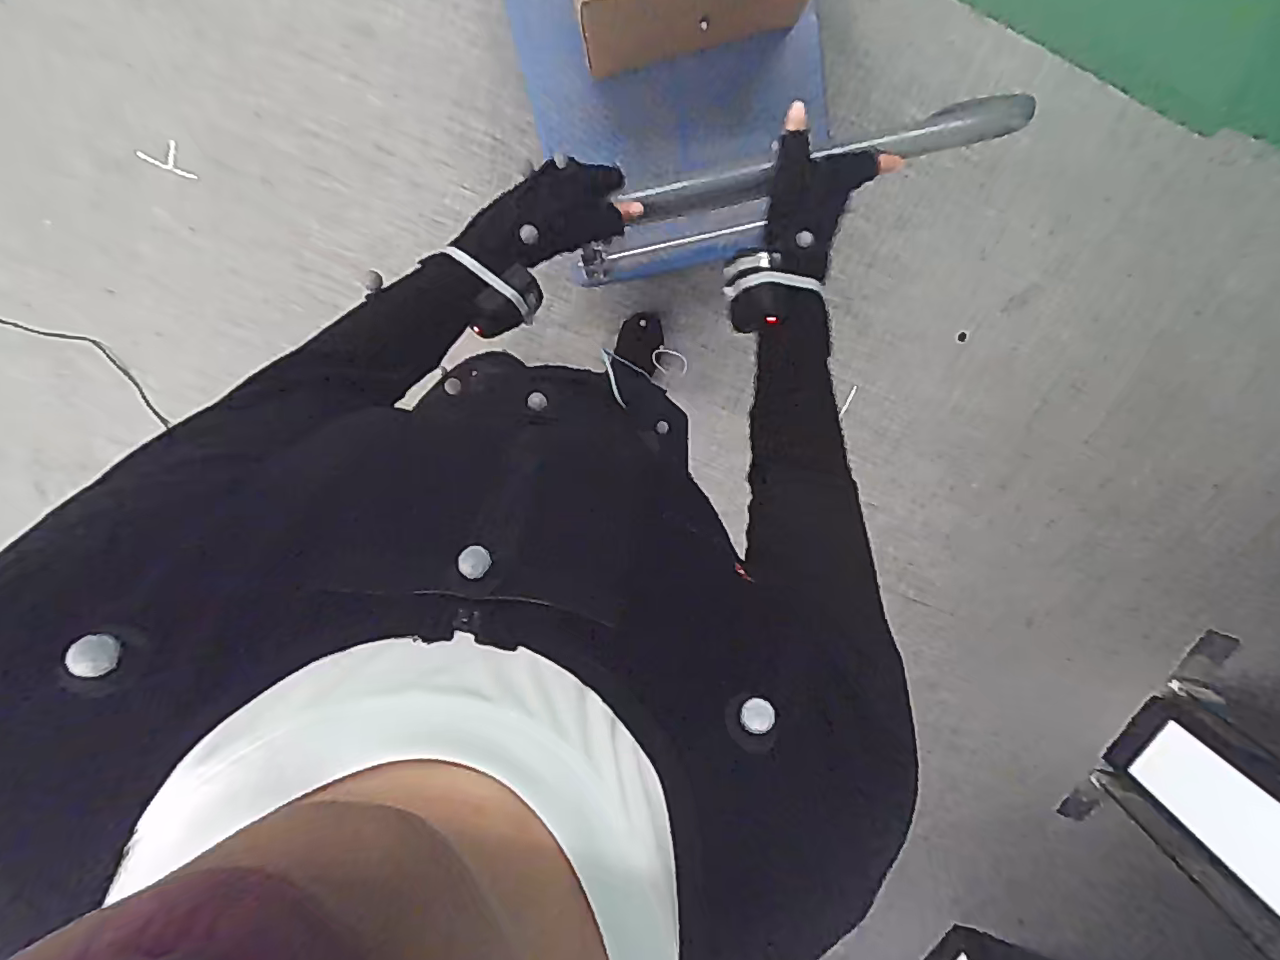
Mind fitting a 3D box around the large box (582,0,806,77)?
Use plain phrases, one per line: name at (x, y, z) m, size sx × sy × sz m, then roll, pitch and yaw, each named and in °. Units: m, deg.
large box at (0.079, -0.927, 0.863) m, size 0.408 × 0.320 × 0.320 m, roll -14°, pitch 108°, yaw 4°
